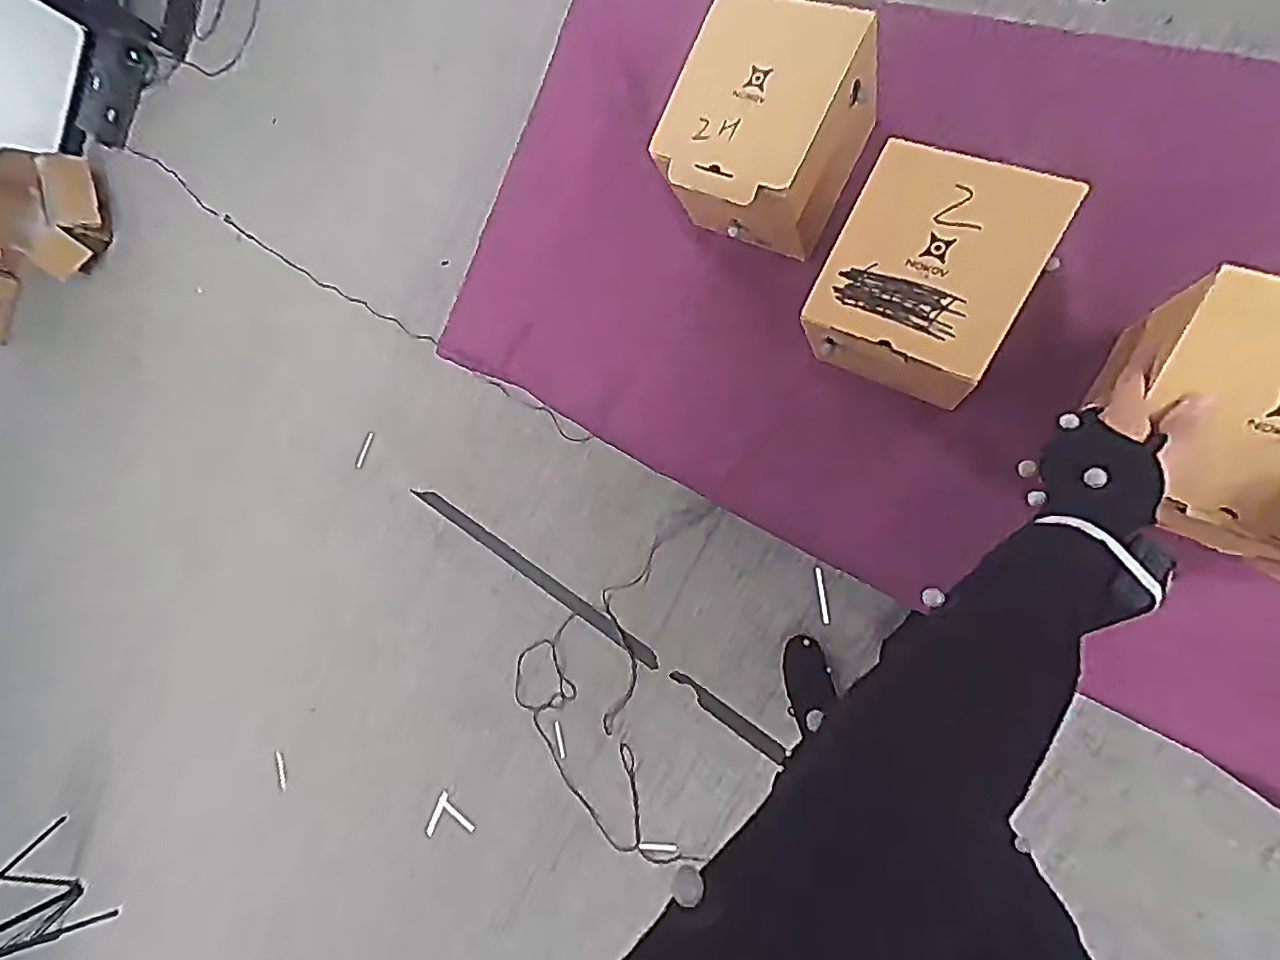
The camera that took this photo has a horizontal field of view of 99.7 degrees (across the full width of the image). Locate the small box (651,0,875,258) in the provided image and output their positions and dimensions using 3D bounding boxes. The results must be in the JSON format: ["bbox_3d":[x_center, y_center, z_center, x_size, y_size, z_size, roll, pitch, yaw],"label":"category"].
[{"bbox_3d":[0.142,-0.385,0.609,0.168,0.176,0.179,30,101,21],"label":"small box"}]

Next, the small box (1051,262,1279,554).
[{"bbox_3d":[0.494,-0.050,0.458,0.168,0.176,0.179,27,100,22],"label":"small box"}]
